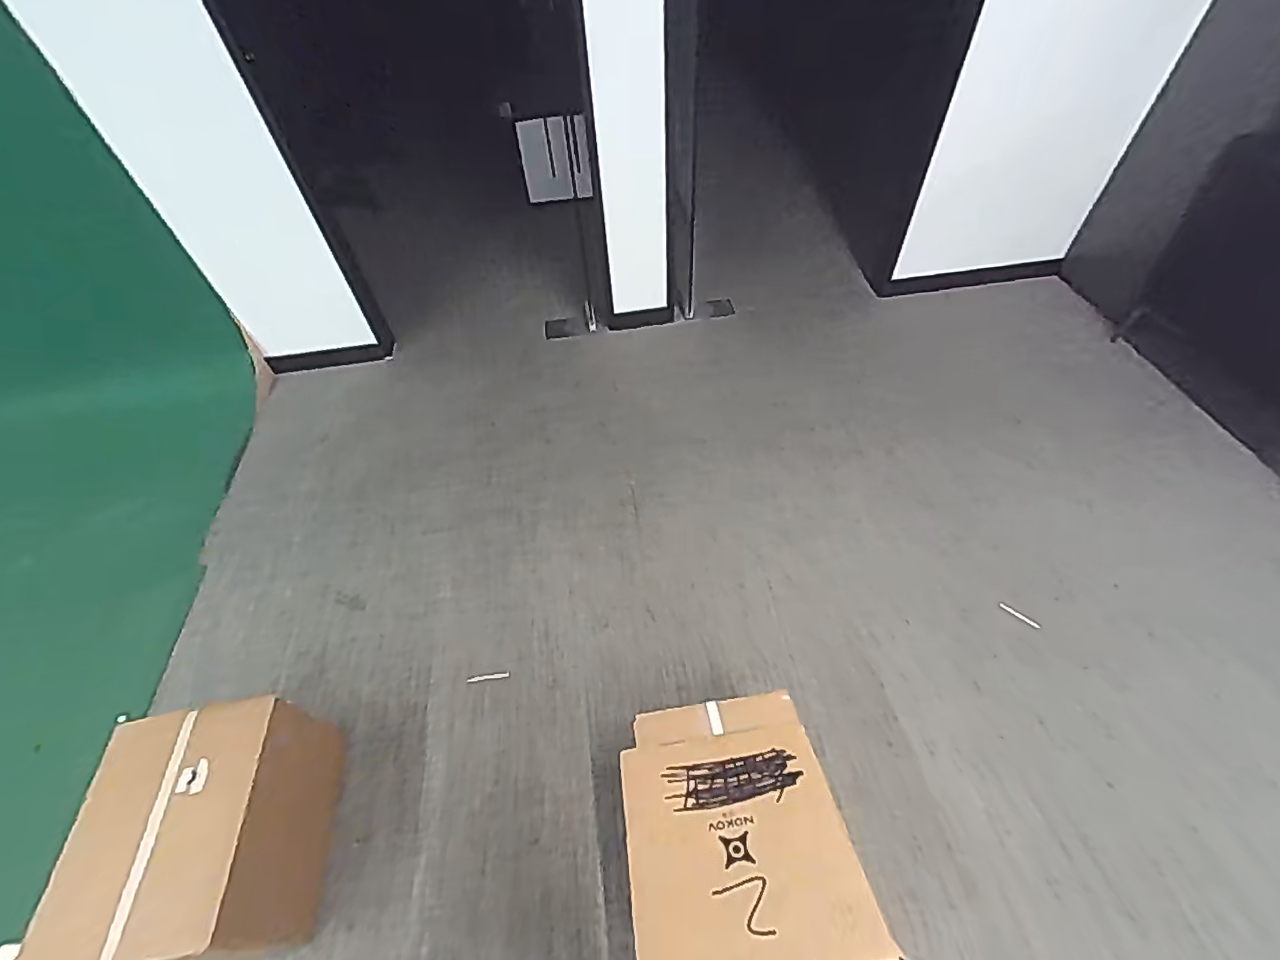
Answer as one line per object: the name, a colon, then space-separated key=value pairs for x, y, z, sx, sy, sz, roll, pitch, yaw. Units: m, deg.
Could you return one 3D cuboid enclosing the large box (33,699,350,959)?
large box: x=-0.838 y=0.718 z=1.088 sx=0.320 sy=0.320 sz=0.408 roll=-9 pitch=50 yaw=-3
